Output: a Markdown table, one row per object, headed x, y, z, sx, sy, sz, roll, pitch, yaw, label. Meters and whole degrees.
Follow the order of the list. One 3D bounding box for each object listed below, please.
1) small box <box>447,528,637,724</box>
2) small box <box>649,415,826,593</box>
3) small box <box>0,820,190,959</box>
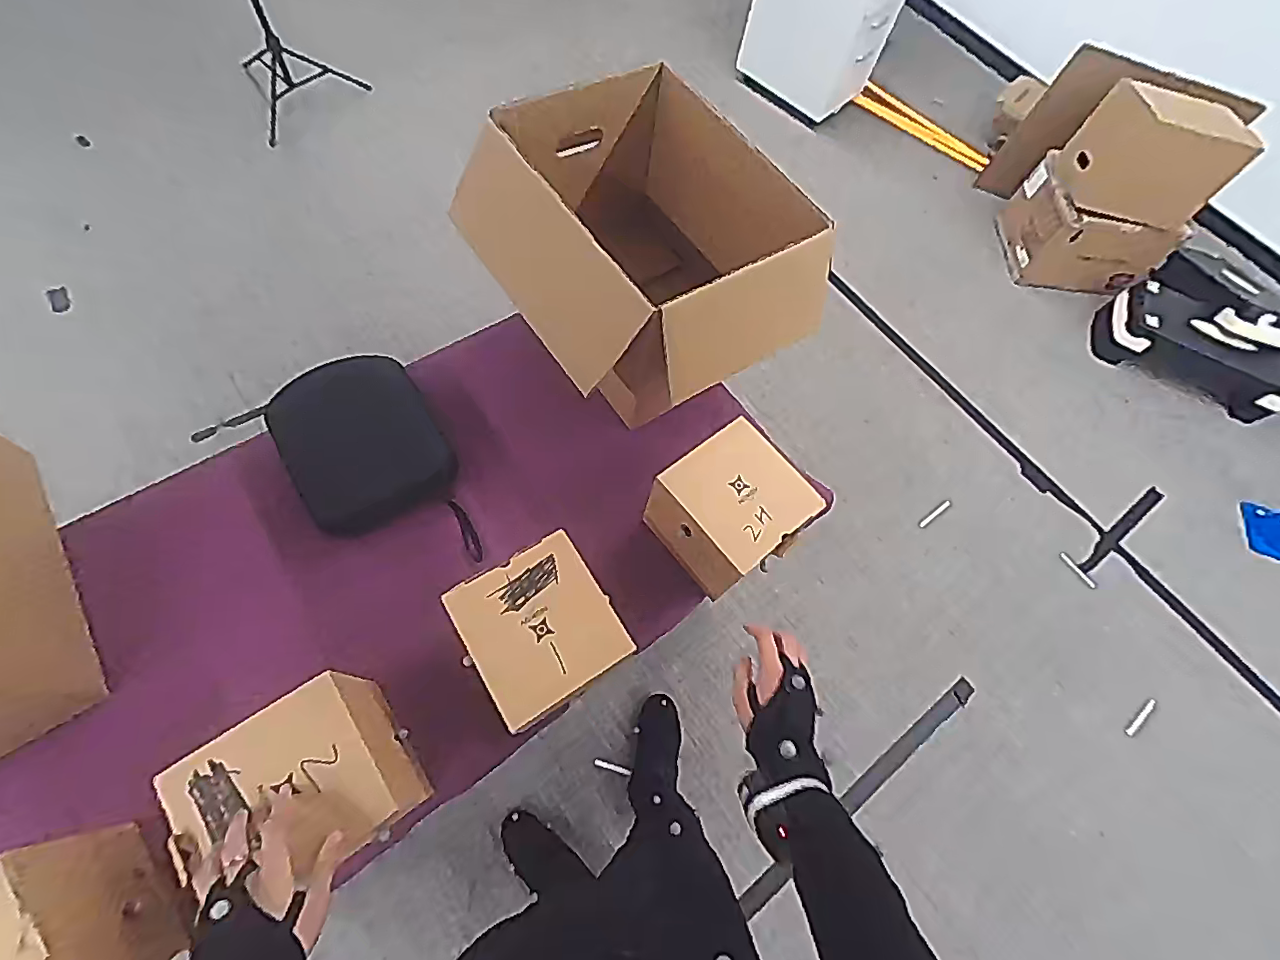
| x | y | z | sx | sy | sz | roll | pitch | yaw | label |
| --- | --- | --- | --- | --- | --- | --- | --- | --- | --- |
| -0.125 | 0.195 | 0.704 | 0.168 | 0.176 | 0.179 | -29 | 74 | -18 | small box |
| 0.130 | 0.043 | 0.803 | 0.168 | 0.176 | 0.179 | -35 | 75 | -18 | small box |
| -0.602 | 0.471 | 0.521 | 0.179 | 0.176 | 0.168 | -35 | 75 | -21 | small box |
